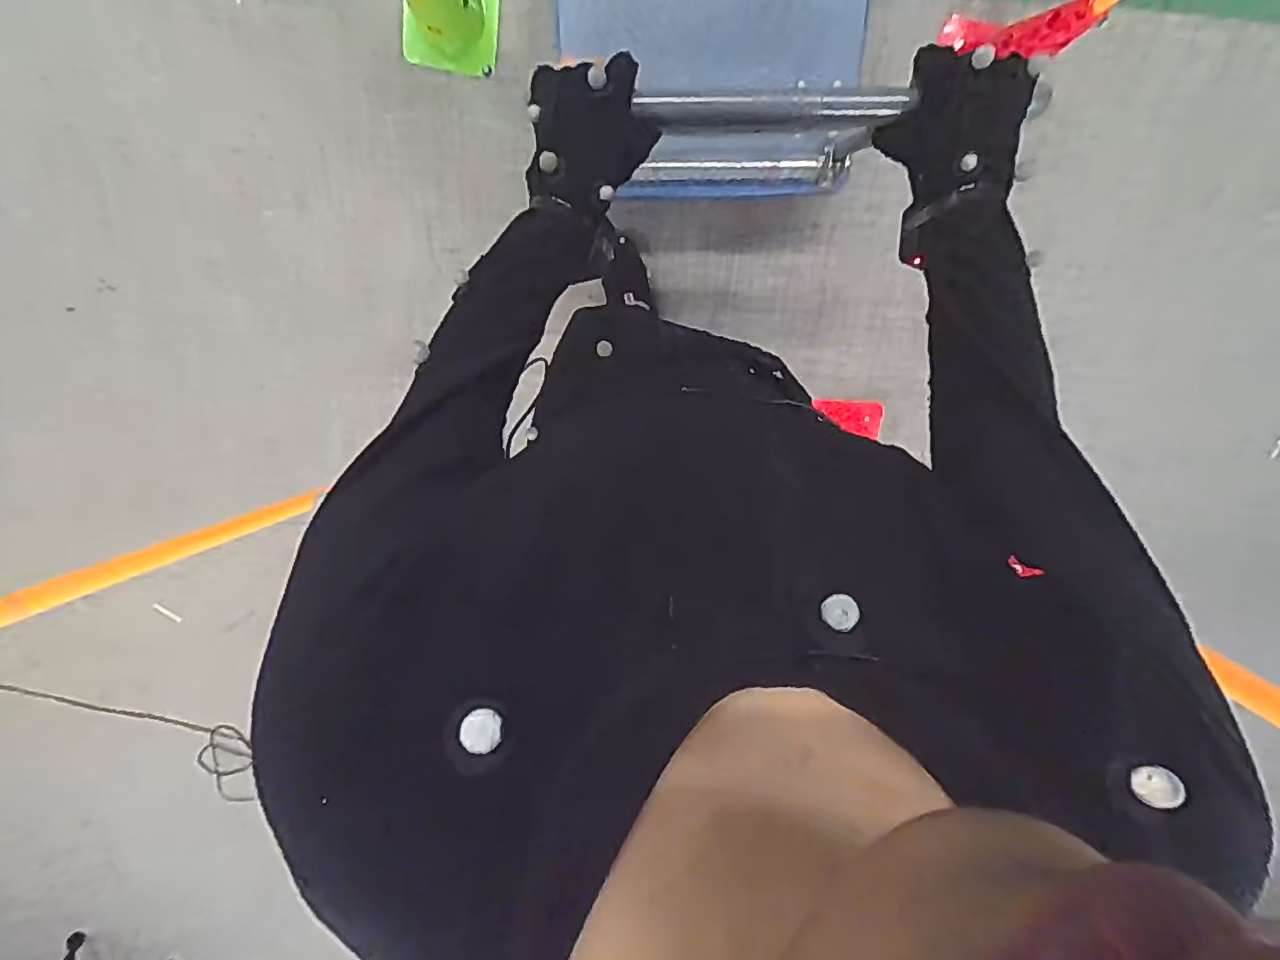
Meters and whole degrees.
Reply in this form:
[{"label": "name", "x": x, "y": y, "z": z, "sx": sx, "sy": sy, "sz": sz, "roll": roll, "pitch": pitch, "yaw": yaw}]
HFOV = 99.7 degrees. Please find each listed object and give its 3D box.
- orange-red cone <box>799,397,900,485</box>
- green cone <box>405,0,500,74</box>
[{"label": "orange-red cone", "x": 0.536, "y": -0.064, "z": 1.306, "sx": 0.199, "sy": 0.360, "sz": 0.198, "roll": 5, "pitch": 110, "yaw": 1}, {"label": "green cone", "x": -0.403, "y": -0.936, "z": 0.988, "sx": 0.202, "sy": 0.368, "sz": 0.200, "roll": 9, "pitch": 110, "yaw": -2}]
